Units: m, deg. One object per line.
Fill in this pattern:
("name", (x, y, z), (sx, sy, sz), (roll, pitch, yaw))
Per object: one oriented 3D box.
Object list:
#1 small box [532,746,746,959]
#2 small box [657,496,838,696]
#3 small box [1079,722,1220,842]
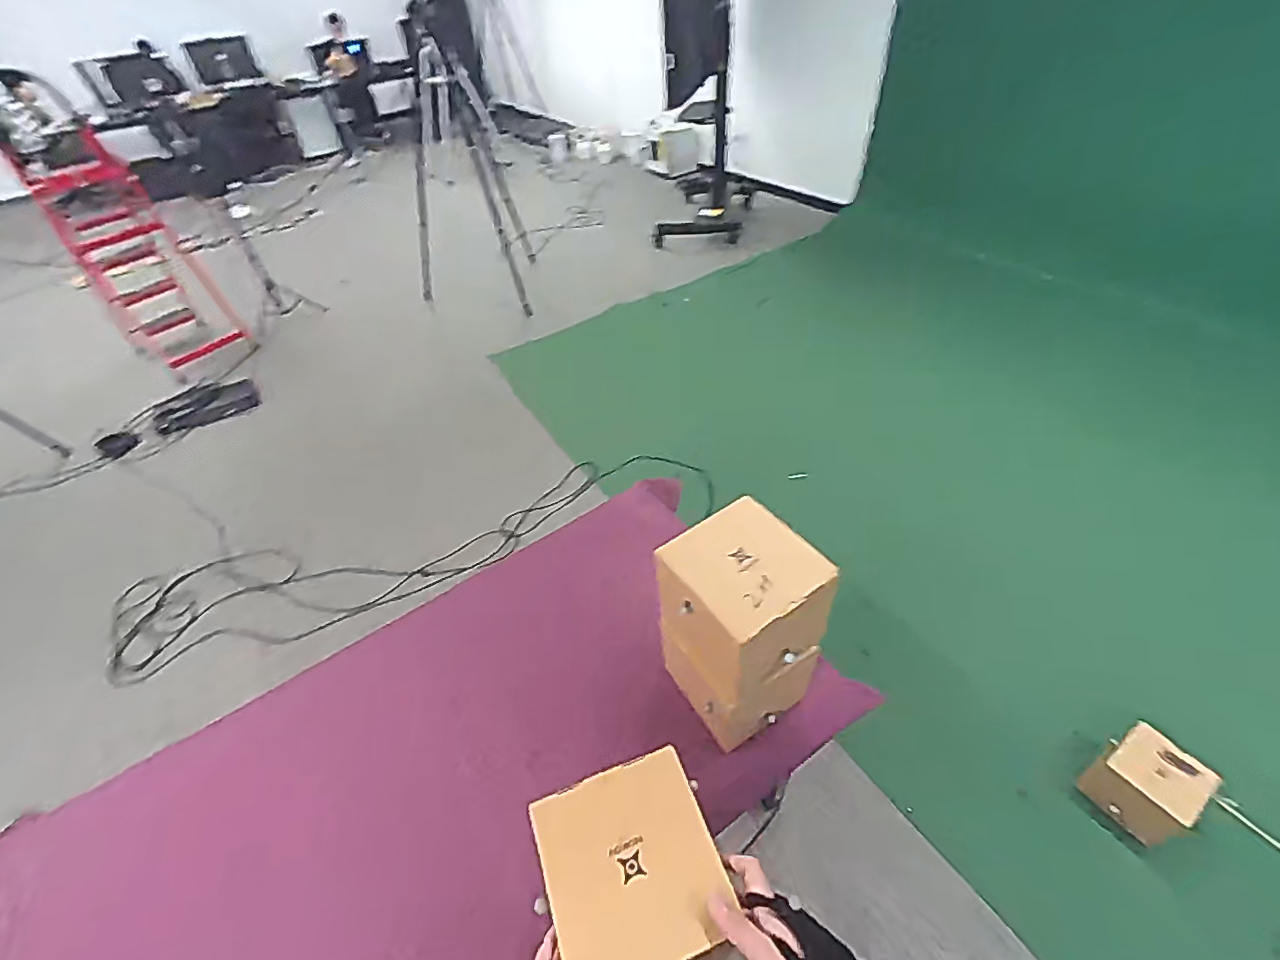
("small box", (-0.003, 0.428, 0.575), (0.168, 0.176, 0.179), (-16, 42, -14))
("small box", (0.140, 0.161, 0.753), (0.168, 0.176, 0.179), (-29, 48, -19))
("small box", (1.235, 0.741, 1.325), (0.179, 0.176, 0.168), (-29, 49, -20))
